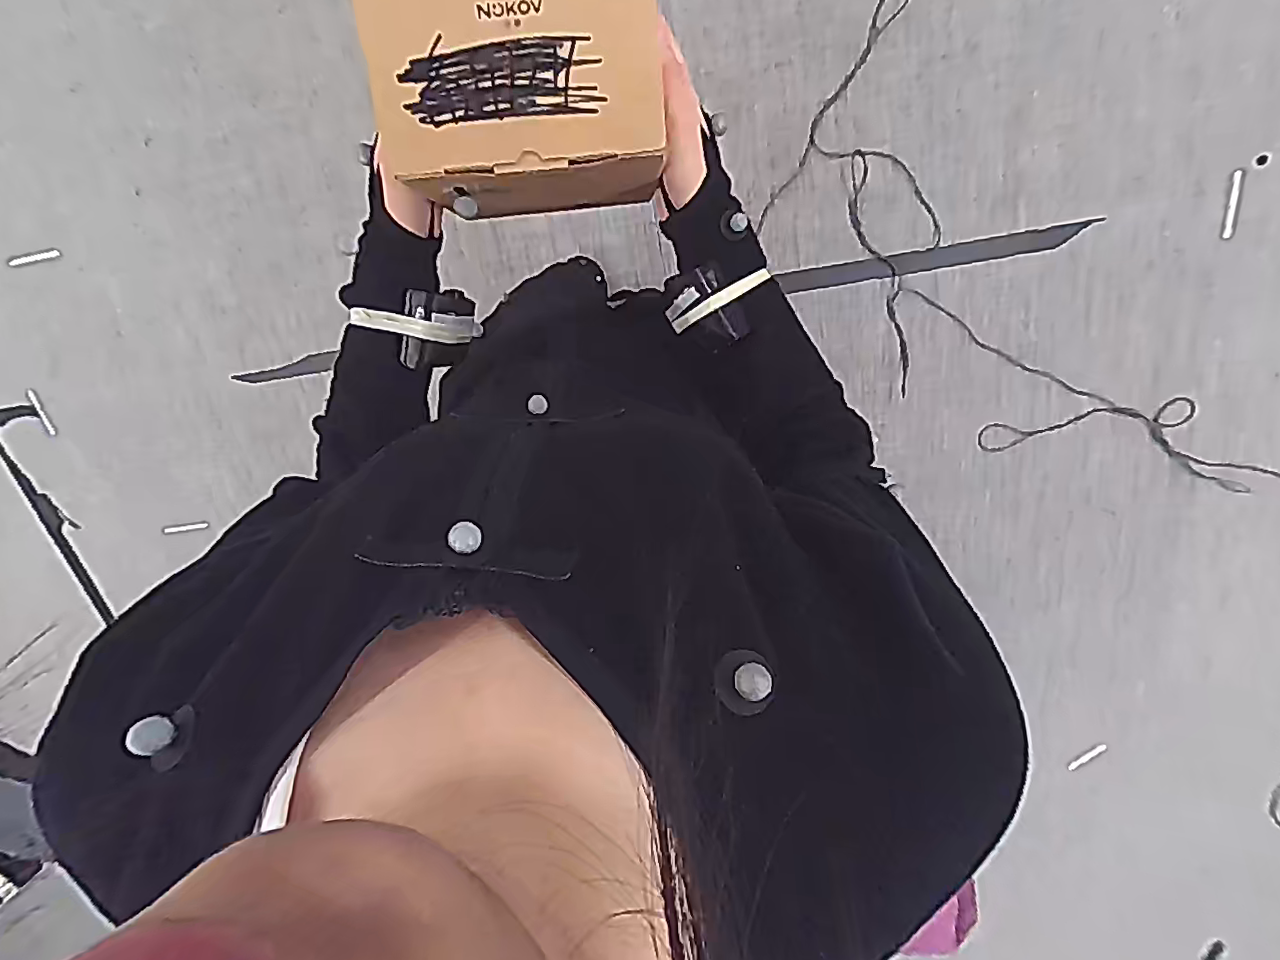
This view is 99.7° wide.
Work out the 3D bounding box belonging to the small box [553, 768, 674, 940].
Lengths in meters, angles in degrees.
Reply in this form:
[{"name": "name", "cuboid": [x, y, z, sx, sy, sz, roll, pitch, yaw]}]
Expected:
[{"name": "small box", "cuboid": [-0.033, 0.609, 0.889, 0.168, 0.176, 0.179, -6, 111, 5]}]
